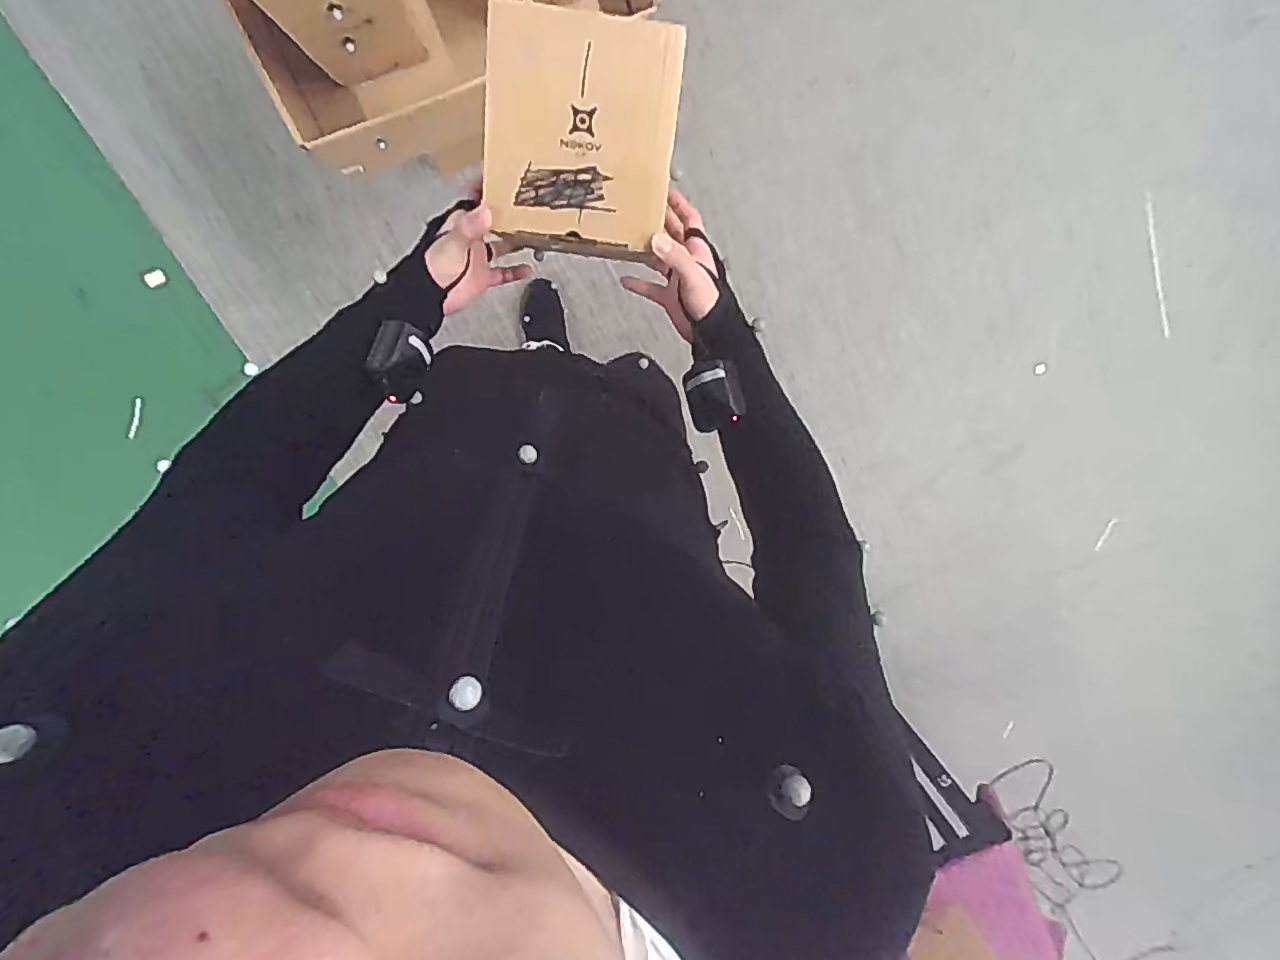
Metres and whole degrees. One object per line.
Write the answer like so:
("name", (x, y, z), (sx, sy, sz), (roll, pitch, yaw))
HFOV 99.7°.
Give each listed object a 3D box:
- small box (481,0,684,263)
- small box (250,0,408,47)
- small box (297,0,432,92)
("small box", (-0.055, -0.325, 0.546), (0.168, 0.176, 0.179), (6, 107, -4))
("small box", (-0.423, -0.693, 0.684), (0.168, 0.176, 0.179), (-21, 110, -2))
("small box", (-0.449, -0.749, 0.836), (0.168, 0.176, 0.179), (-19, 109, 0))
